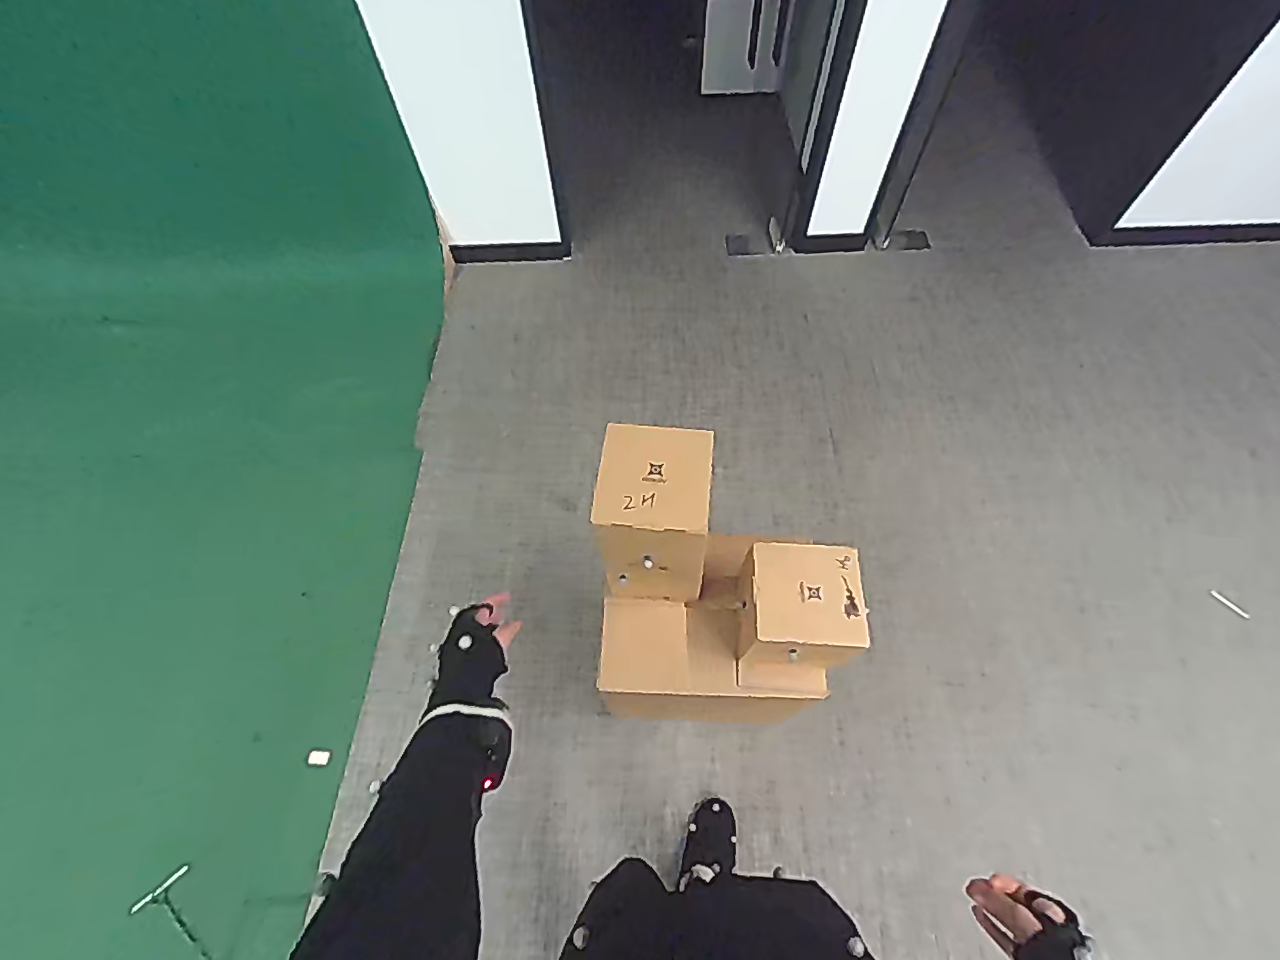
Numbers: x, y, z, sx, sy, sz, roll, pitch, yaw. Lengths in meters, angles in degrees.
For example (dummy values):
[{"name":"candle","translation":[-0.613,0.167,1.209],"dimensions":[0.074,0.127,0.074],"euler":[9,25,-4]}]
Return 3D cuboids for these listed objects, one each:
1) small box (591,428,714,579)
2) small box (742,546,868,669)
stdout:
[{"name":"small box","translation":[0.024,0.040,0.859],"dimensions":[0.168,0.176,0.179],"euler":[4,60,6]},{"name":"small box","translation":[0.270,0.224,0.929],"dimensions":[0.179,0.176,0.168],"euler":[2,62,4]}]
